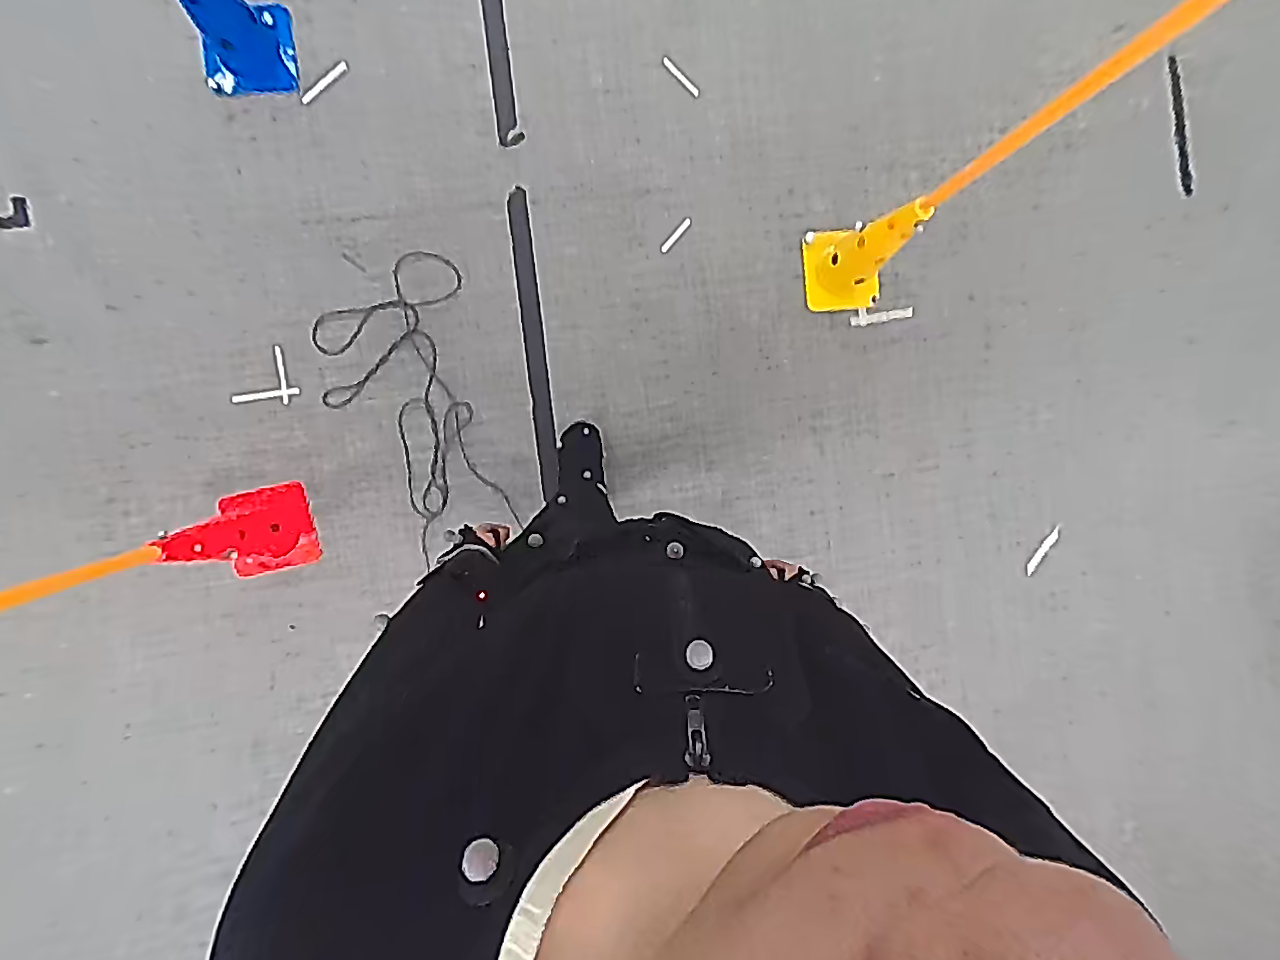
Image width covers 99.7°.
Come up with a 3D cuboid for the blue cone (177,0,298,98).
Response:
[{"bbox_3d":[-0.889,-0.984,1.096,0.193,0.380,0.192,-5,92,-5],"label":"blue cone"}]

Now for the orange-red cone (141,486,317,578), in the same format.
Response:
[{"bbox_3d":[-0.862,0.127,1.108,0.199,0.360,0.198,-13,93,-6],"label":"orange-red cone"}]
